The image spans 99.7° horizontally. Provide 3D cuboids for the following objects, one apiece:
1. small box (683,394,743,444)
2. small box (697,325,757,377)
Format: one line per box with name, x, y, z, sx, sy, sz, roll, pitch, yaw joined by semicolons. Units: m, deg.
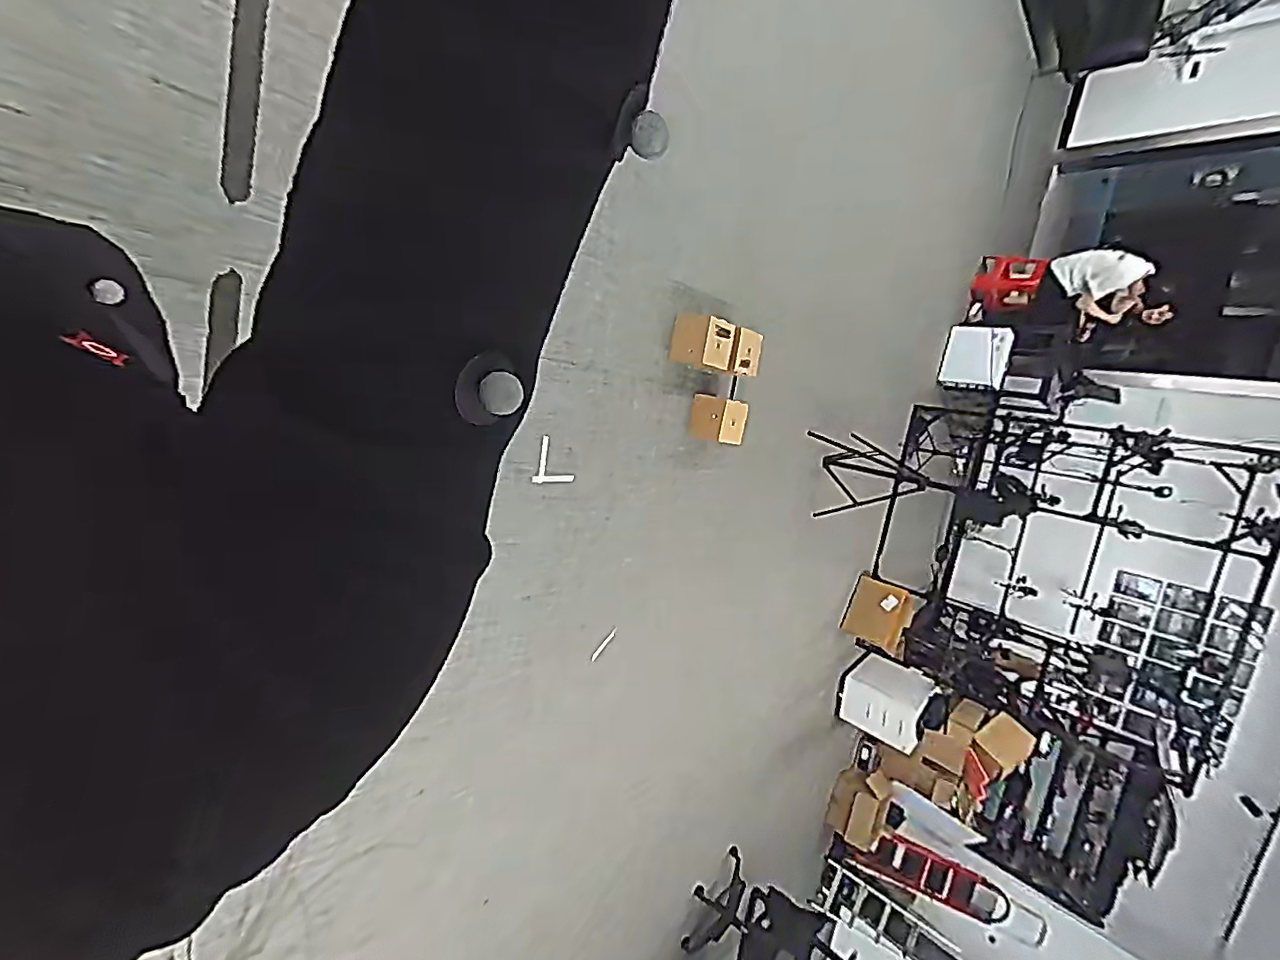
small box;0.302;-0.256;2.275;0.168;0.176;0.179;4;100;-47
small box;0.356;-0.533;2.236;0.168;0.176;0.179;2;101;-47
